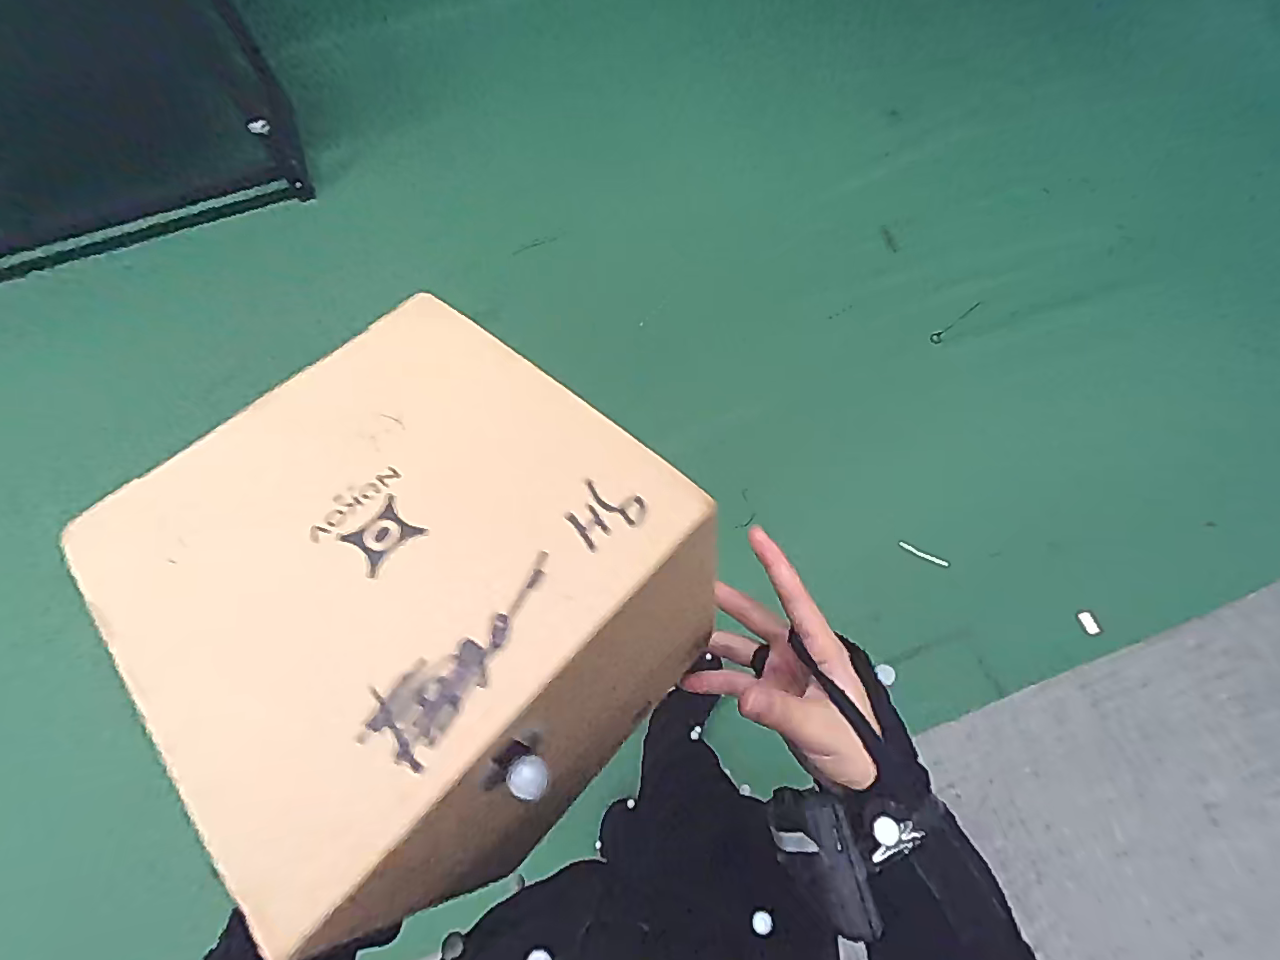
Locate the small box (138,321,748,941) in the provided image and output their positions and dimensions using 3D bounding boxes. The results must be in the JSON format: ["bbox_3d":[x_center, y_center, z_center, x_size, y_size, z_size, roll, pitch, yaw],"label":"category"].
[{"bbox_3d":[-0.070,0.063,0.266,0.179,0.176,0.168,37,70,25],"label":"small box"}]
